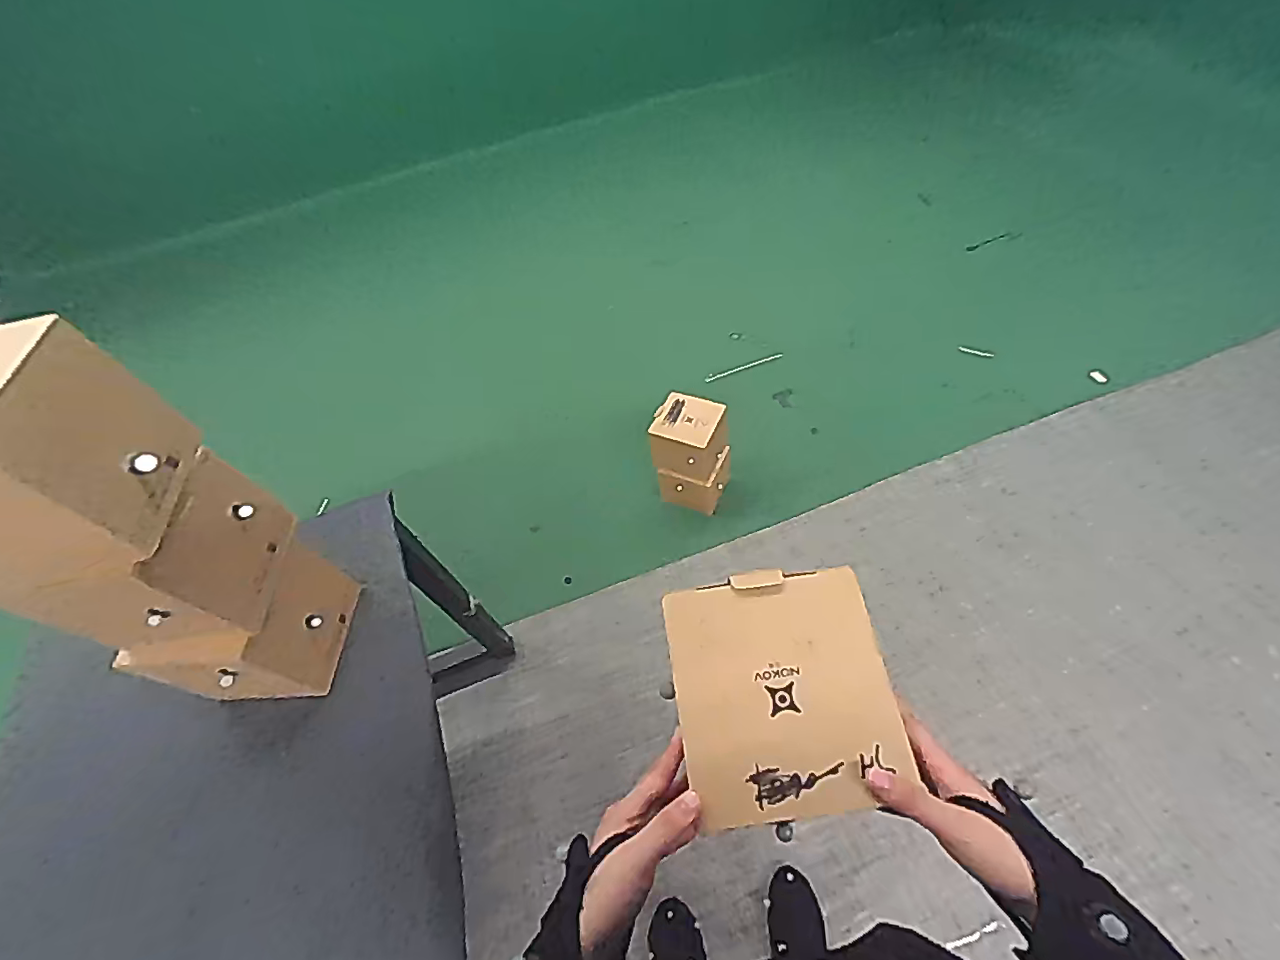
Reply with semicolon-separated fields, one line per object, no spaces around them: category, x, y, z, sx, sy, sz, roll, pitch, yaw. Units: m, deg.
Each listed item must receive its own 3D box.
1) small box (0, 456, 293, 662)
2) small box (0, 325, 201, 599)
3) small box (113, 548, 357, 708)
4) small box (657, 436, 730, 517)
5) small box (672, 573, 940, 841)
small box;-0.547;0.095;0.620;0.179;0.176;0.168;-10;53;5
small box;-0.567;-0.007;0.492;0.179;0.176;0.168;-14;53;0
small box;-0.527;0.206;0.738;0.179;0.176;0.168;-6;54;8
small box;0.174;-0.005;1.692;0.179;0.176;0.168;18;59;21
small box;0.120;0.201;0.479;0.168;0.176;0.179;-8;61;0
